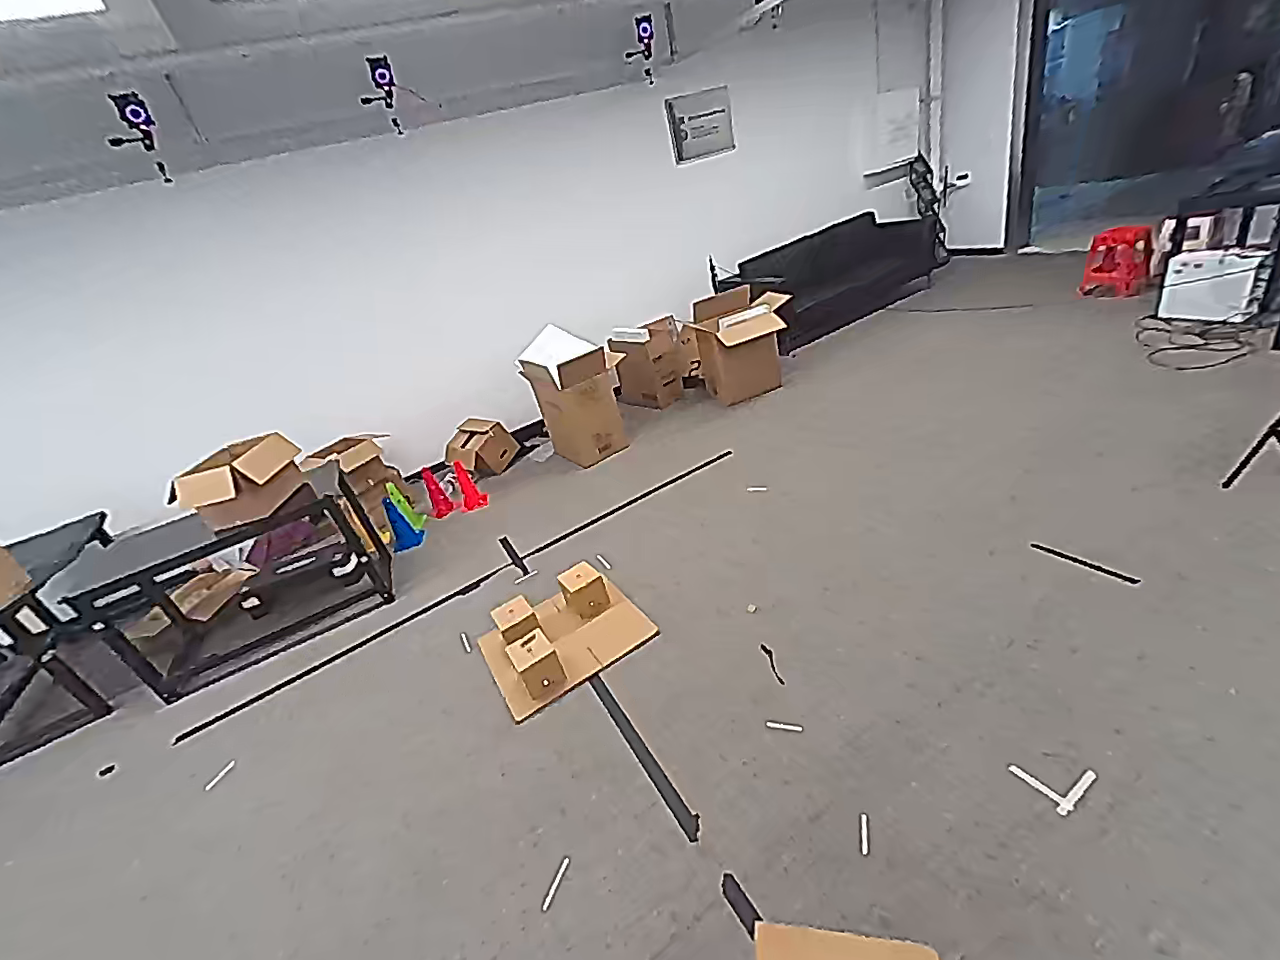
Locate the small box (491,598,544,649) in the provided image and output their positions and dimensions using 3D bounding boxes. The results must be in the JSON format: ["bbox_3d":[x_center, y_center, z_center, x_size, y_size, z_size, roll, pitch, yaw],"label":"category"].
[{"bbox_3d":[-0.564,0.686,2.501,0.168,0.176,0.179,-28,30,-21],"label":"small box"}]

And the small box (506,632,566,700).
[{"bbox_3d":[-0.435,0.779,2.263,0.168,0.176,0.179,-29,31,-22],"label":"small box"}]

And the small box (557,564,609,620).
[{"bbox_3d":[-0.276,0.546,2.625,0.168,0.176,0.179,-29,30,-24],"label":"small box"}]
